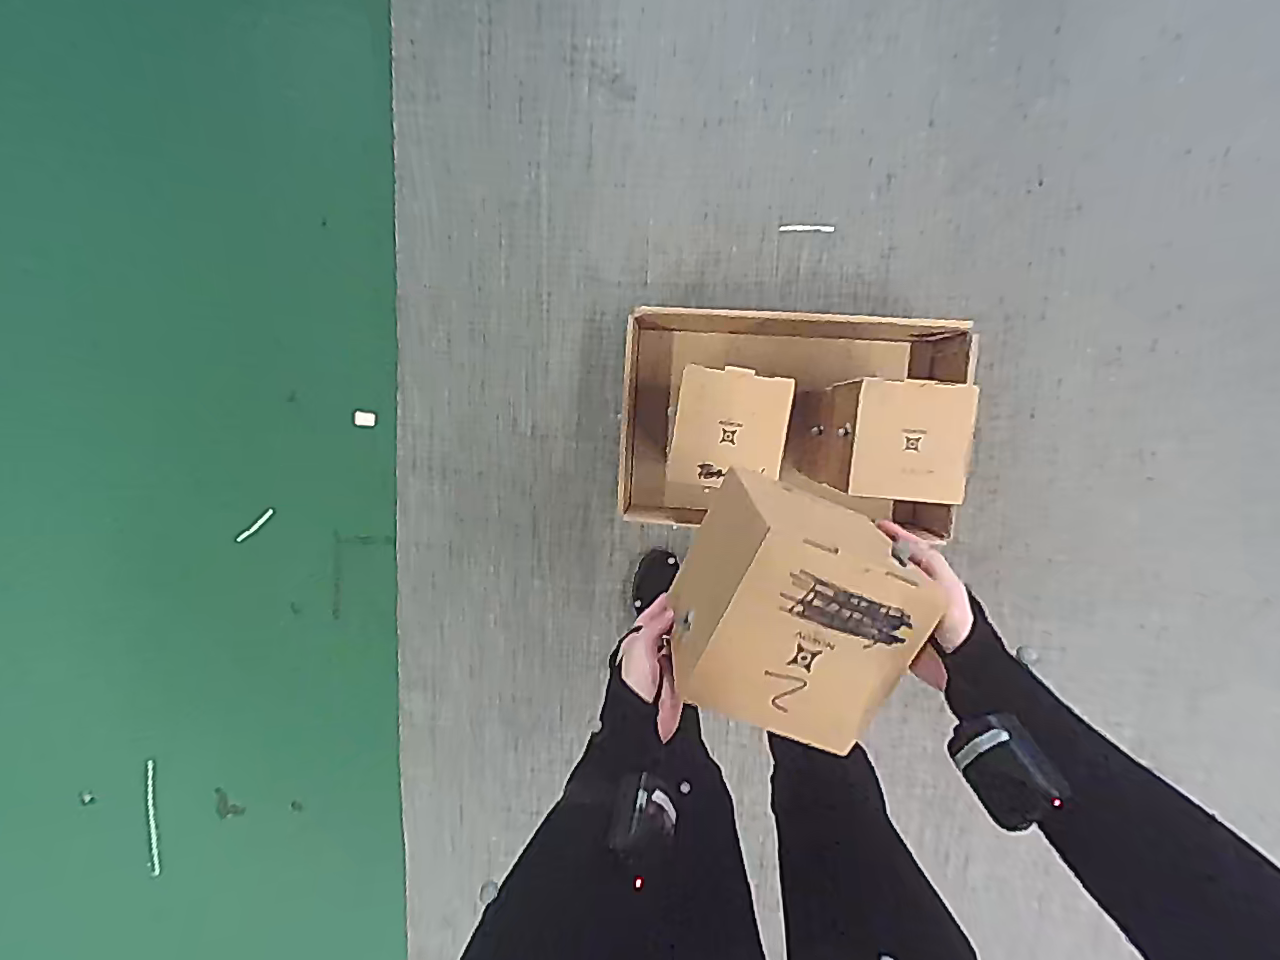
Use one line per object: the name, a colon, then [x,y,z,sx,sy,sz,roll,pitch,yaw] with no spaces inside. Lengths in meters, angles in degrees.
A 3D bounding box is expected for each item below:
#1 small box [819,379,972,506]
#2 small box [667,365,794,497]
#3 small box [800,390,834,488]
small box: [0.400,-0.063,0.876,0.168,0.176,0.179,6,97,4]
small box: [0.137,-0.079,0.885,0.168,0.176,0.179,10,96,2]
small box: [0.412,-0.077,1.038,0.168,0.176,0.179,4,96,3]
